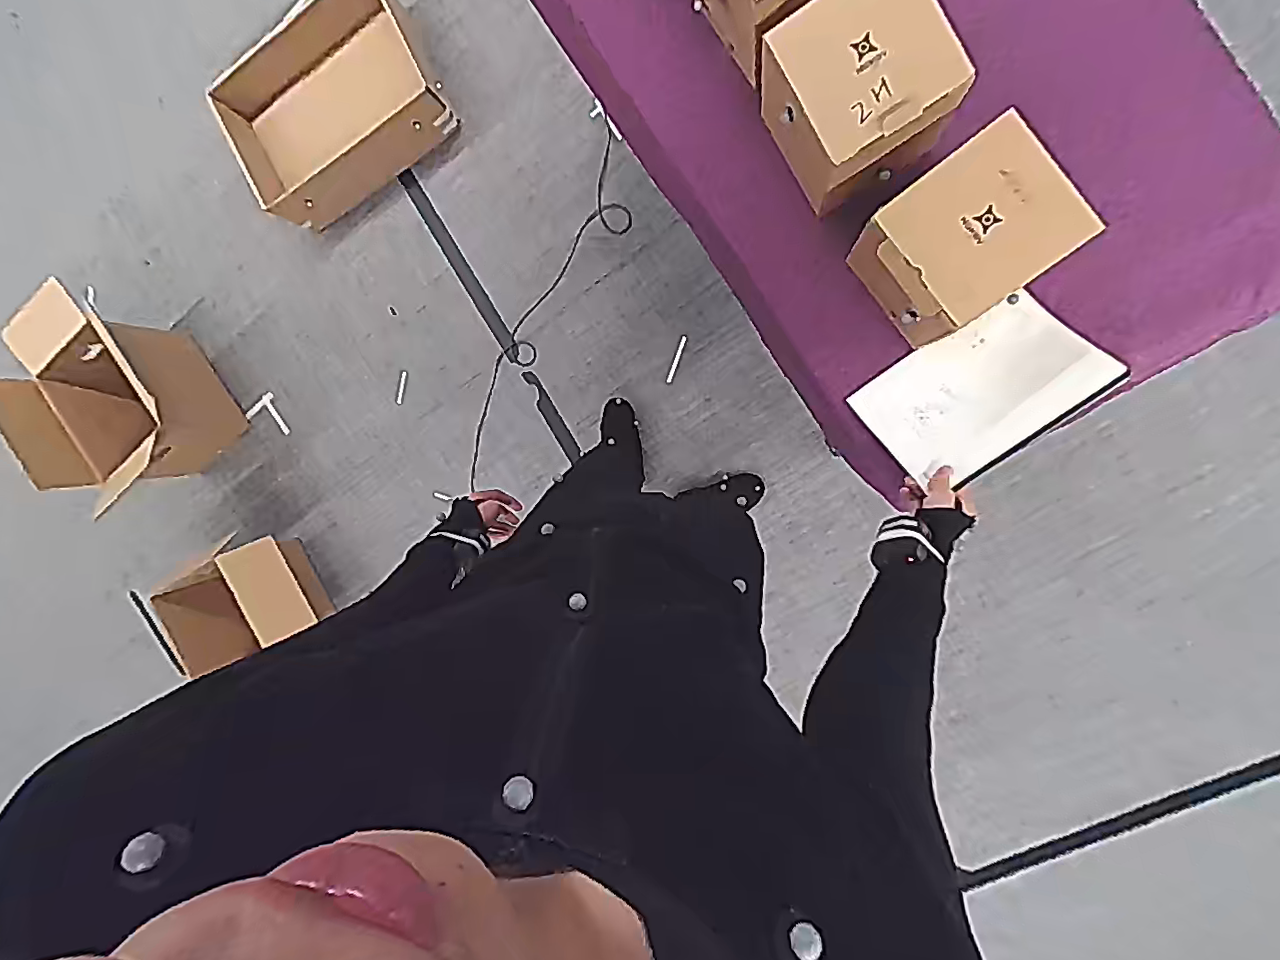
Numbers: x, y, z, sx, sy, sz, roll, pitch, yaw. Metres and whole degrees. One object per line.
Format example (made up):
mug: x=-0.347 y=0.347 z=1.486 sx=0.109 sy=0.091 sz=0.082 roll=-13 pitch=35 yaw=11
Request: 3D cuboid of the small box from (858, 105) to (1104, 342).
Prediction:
small box: x=0.391 y=-0.292 z=0.665 sx=0.179 sy=0.176 sz=0.168 roll=-36 pitch=89 yaw=13
